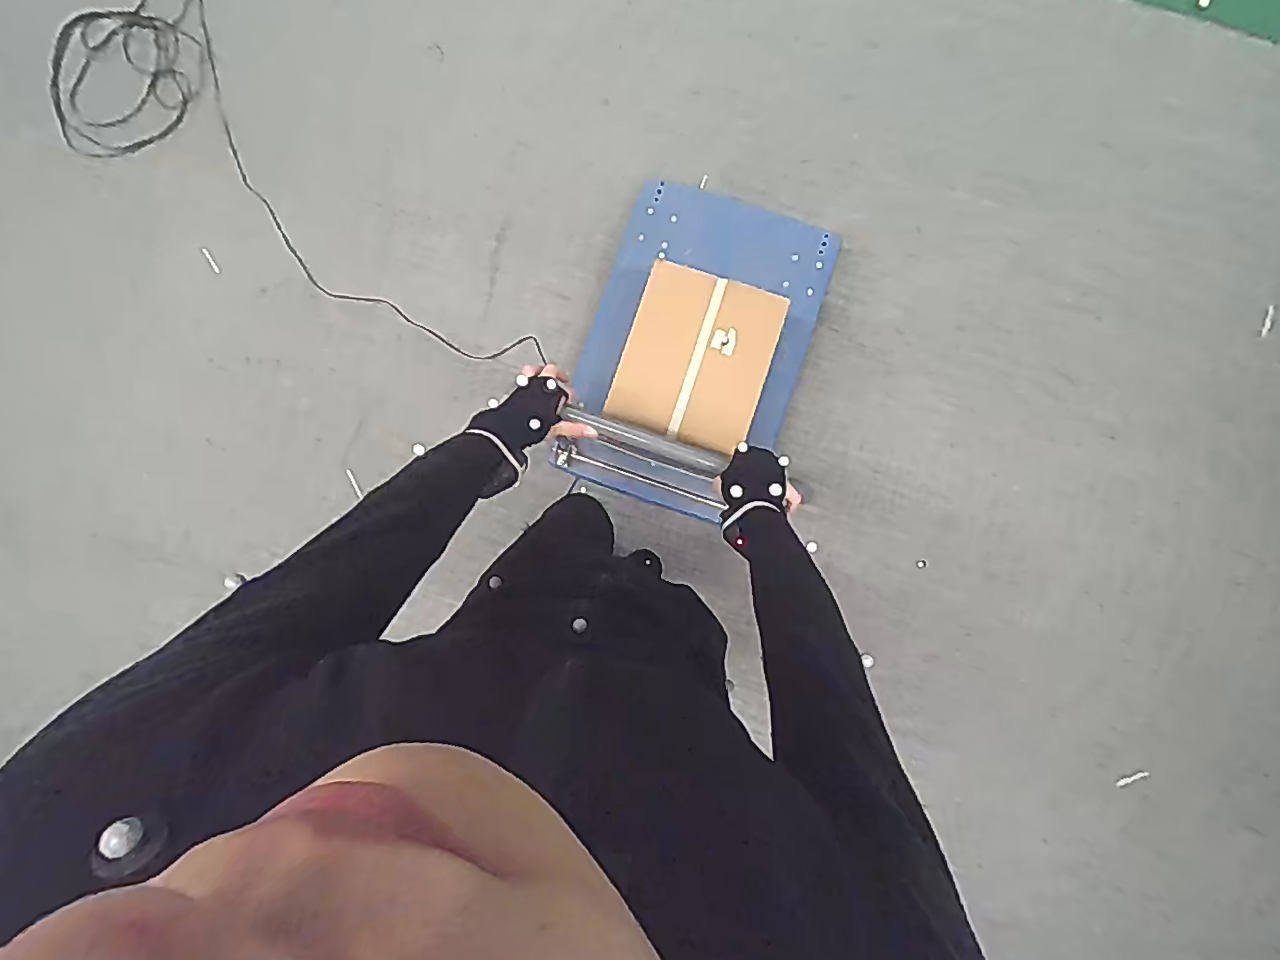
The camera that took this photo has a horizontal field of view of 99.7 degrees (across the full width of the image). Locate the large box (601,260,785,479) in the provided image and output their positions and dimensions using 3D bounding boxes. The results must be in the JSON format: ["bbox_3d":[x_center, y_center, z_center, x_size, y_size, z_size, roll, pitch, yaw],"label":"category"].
[{"bbox_3d":[0.122,-0.245,1.331,0.320,0.320,0.408,19,86,2],"label":"large box"}]
